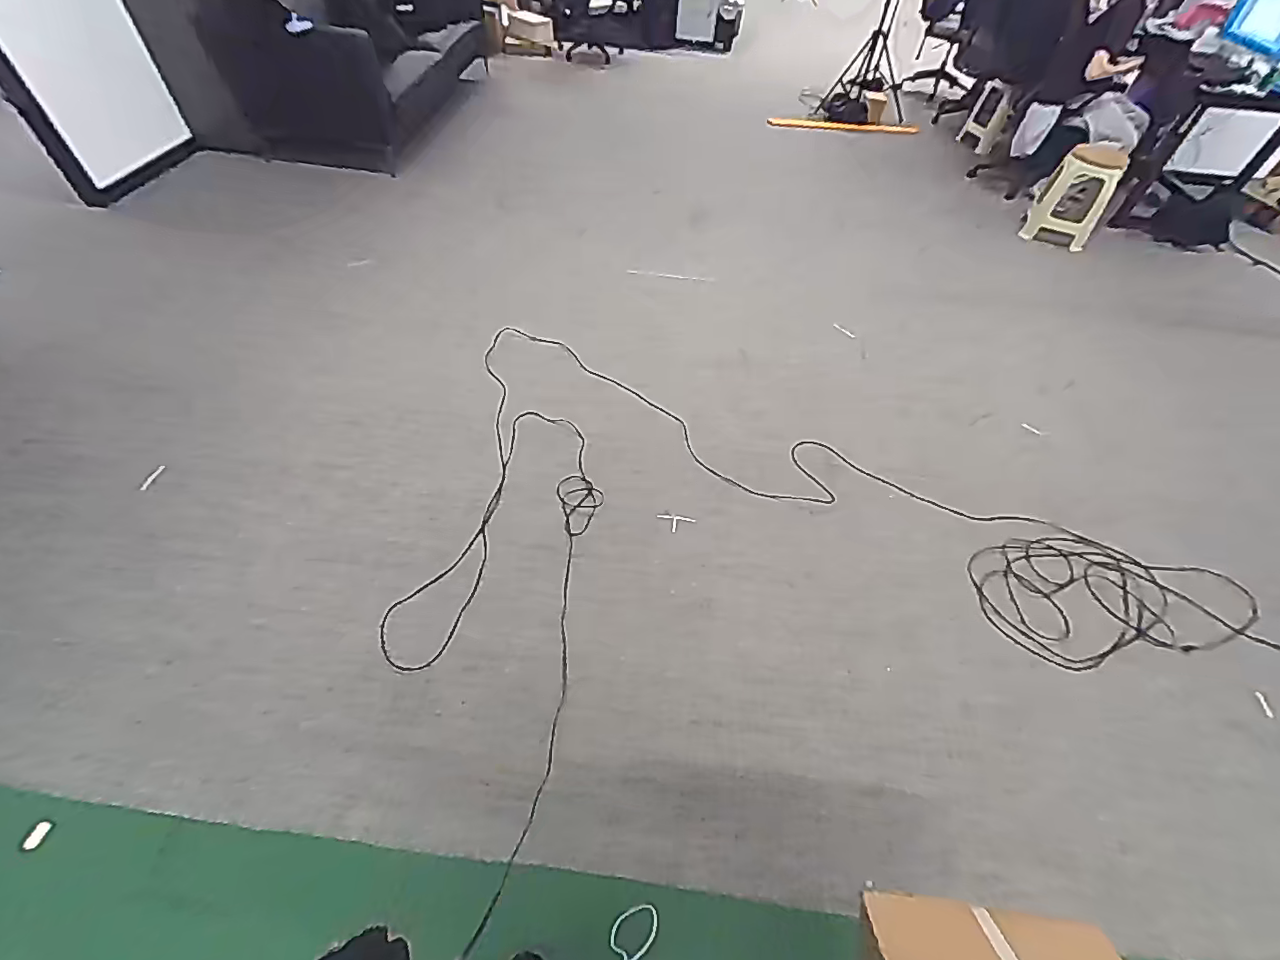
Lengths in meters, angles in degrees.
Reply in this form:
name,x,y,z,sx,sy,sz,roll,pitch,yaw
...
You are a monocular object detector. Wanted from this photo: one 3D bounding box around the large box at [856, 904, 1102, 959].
name,x,y,z,sx,sy,sz,roll,pitch,yaw
large box,0.438,0.779,0.579,0.320,0.408,0.320,5,91,7
